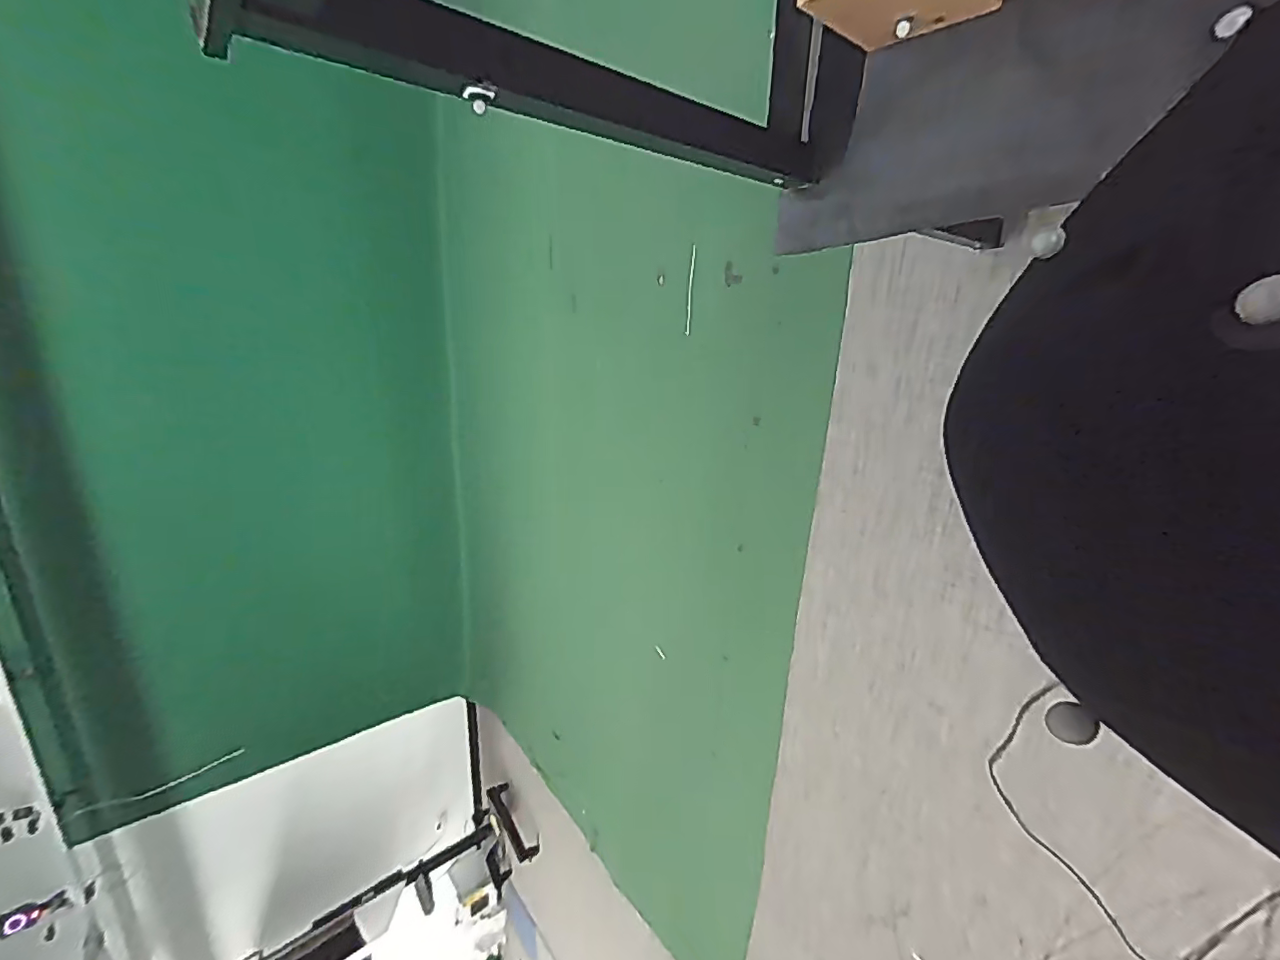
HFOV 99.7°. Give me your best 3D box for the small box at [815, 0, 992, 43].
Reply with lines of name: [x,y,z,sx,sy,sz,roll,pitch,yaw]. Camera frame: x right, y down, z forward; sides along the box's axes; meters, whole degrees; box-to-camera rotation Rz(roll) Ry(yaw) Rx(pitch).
small box: [0.302,-0.638,0.601,0.168,0.176,0.179,23,117,47]
